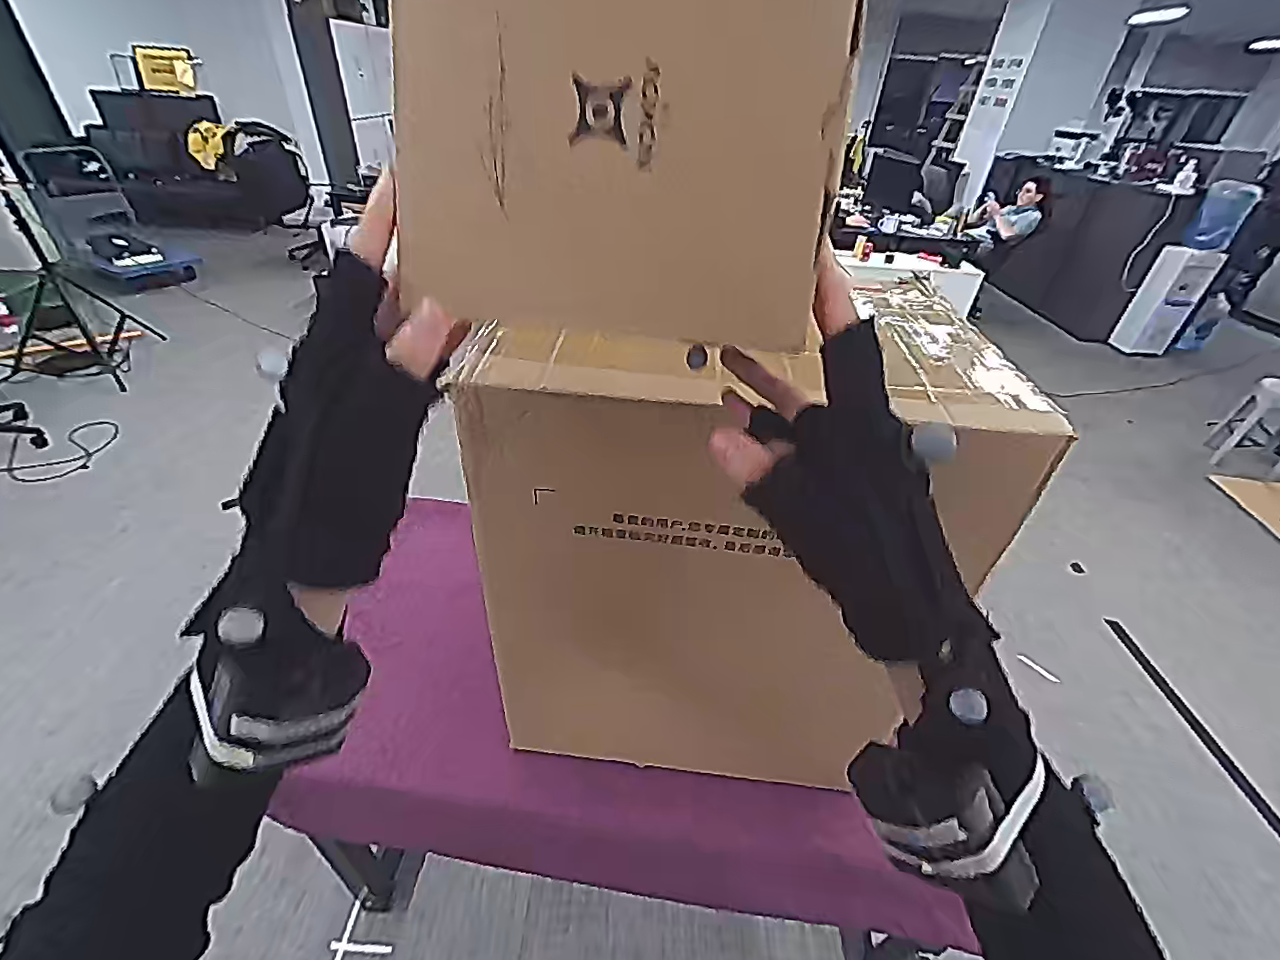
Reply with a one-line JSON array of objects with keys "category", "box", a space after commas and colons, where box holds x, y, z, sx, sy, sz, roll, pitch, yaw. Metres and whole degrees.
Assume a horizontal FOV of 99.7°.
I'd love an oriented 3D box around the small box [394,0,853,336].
[{"category": "small box", "box": [-0.003, -0.168, 0.286, 0.179, 0.168, 0.176, 6, 13, 6]}]
